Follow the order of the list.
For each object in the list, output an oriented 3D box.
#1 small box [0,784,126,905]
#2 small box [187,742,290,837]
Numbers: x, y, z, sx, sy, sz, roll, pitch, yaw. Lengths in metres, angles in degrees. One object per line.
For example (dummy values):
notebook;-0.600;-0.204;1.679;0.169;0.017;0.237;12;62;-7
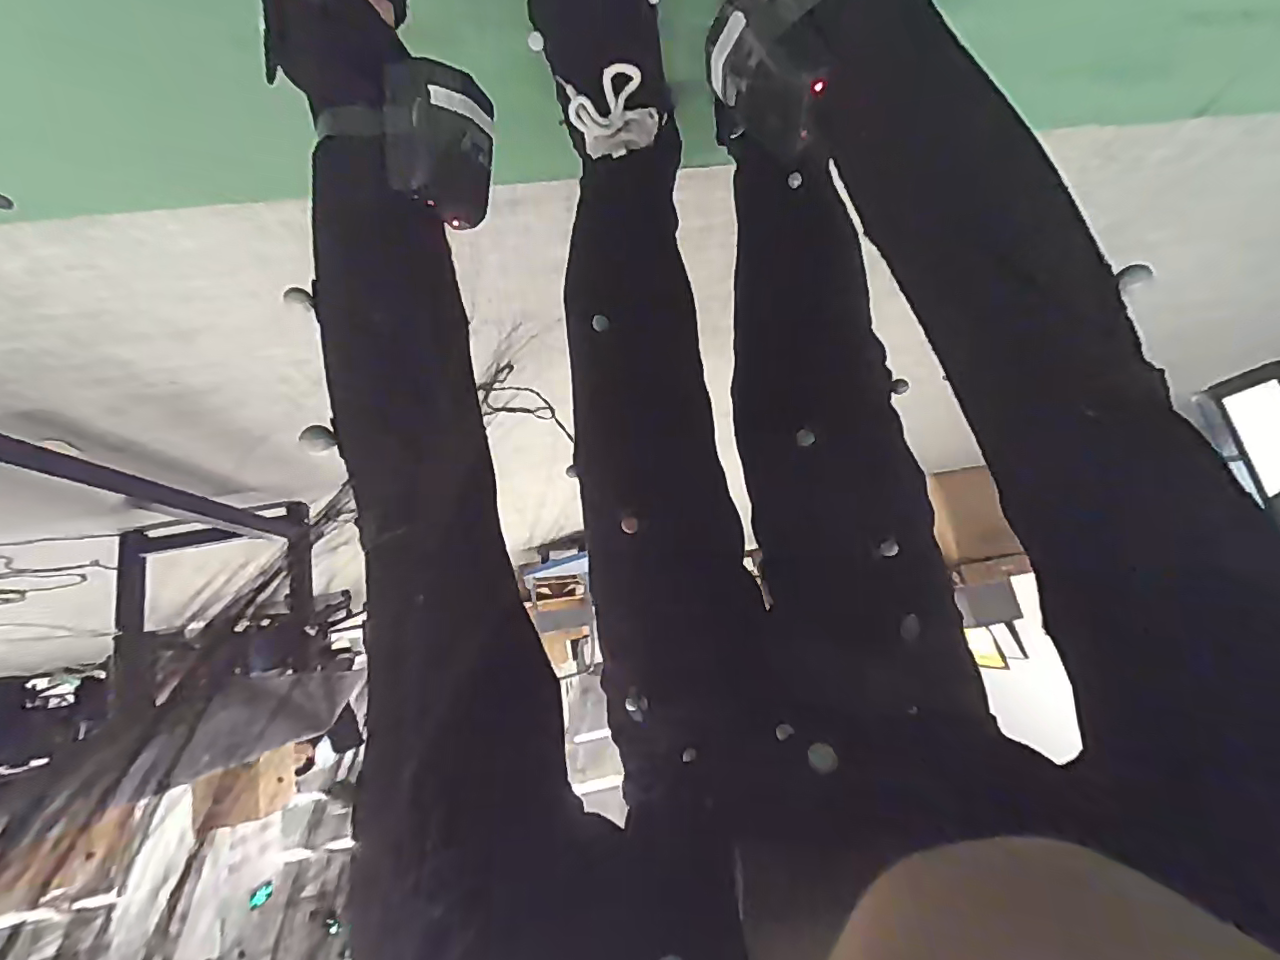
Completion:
small box;-1.304;0.806;1.204;0.168;0.176;0.179;-10;166;-8
small box;-1.089;0.833;1.473;0.168;0.176;0.179;-9;166;-6
